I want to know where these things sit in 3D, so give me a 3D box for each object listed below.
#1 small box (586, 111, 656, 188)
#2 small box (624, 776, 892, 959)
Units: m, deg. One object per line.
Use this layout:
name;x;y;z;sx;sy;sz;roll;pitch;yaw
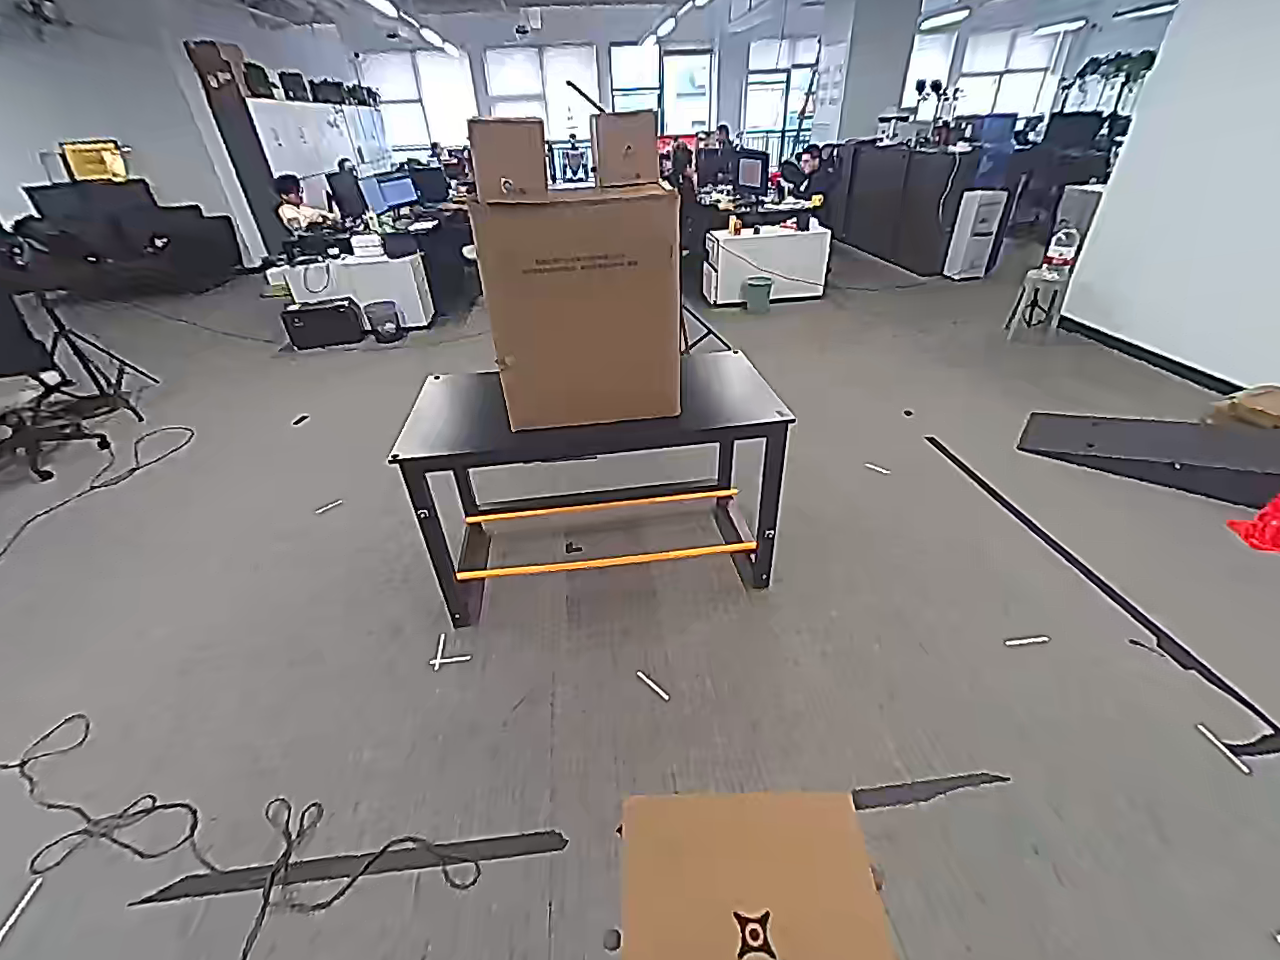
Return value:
small box;-0.053;-0.913;1.498;0.168;0.176;0.179;-9;33;-6
small box;0.075;0.340;0.396;0.168;0.176;0.179;-3;44;2
